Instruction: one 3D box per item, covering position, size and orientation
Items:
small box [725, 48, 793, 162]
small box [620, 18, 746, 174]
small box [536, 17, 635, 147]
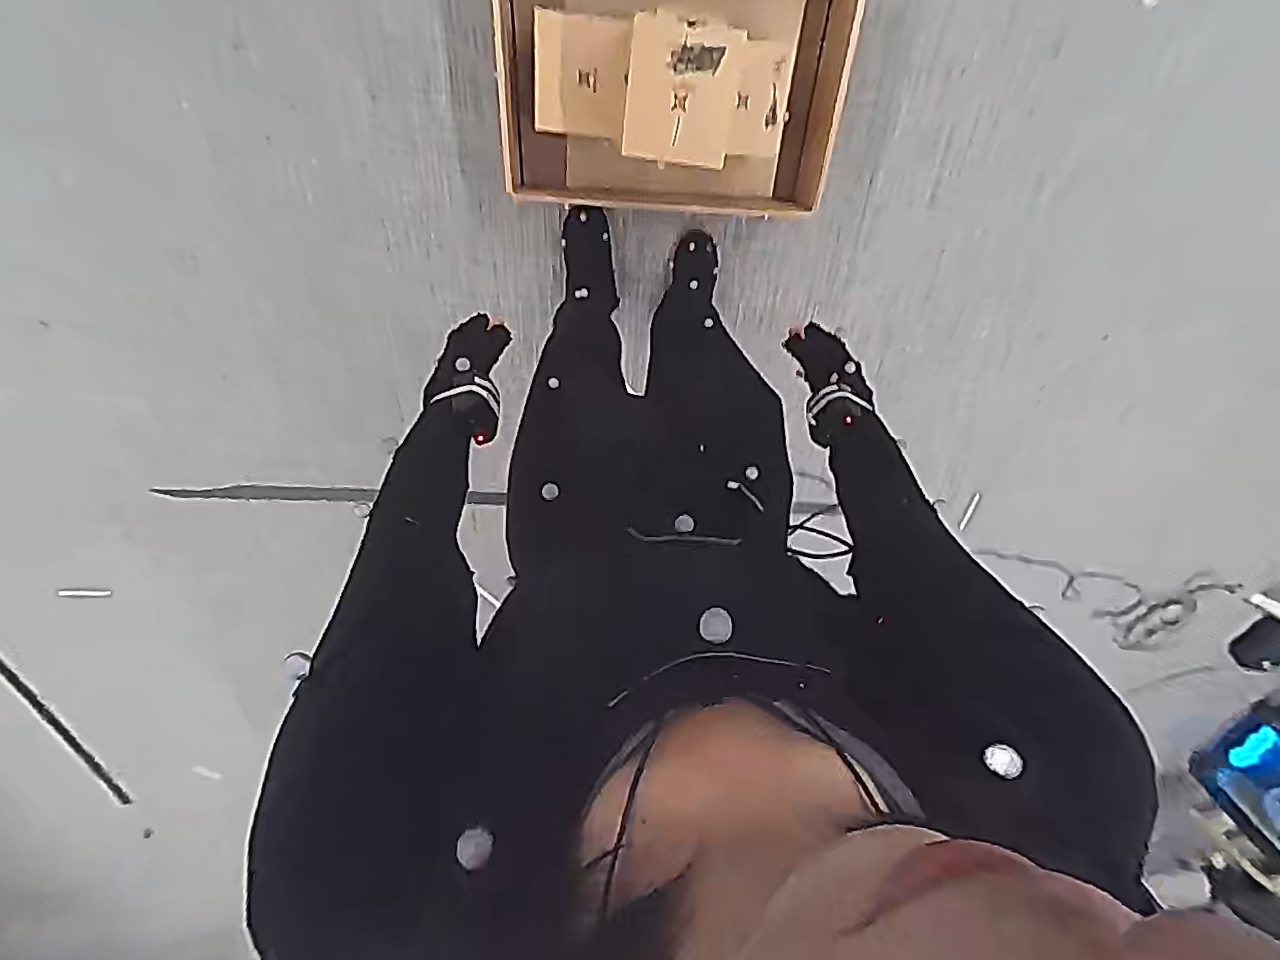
[{"bbox_3d":[0.169,-0.708,1.026,0.179,0.176,0.168,2,124,-3],"label":"small box"},{"bbox_3d":[0.058,-0.615,0.881,0.168,0.176,0.179,5,123,-7],"label":"small box"},{"bbox_3d":[-0.096,-0.722,0.995,0.179,0.176,0.168,3,123,-6],"label":"small box"}]
